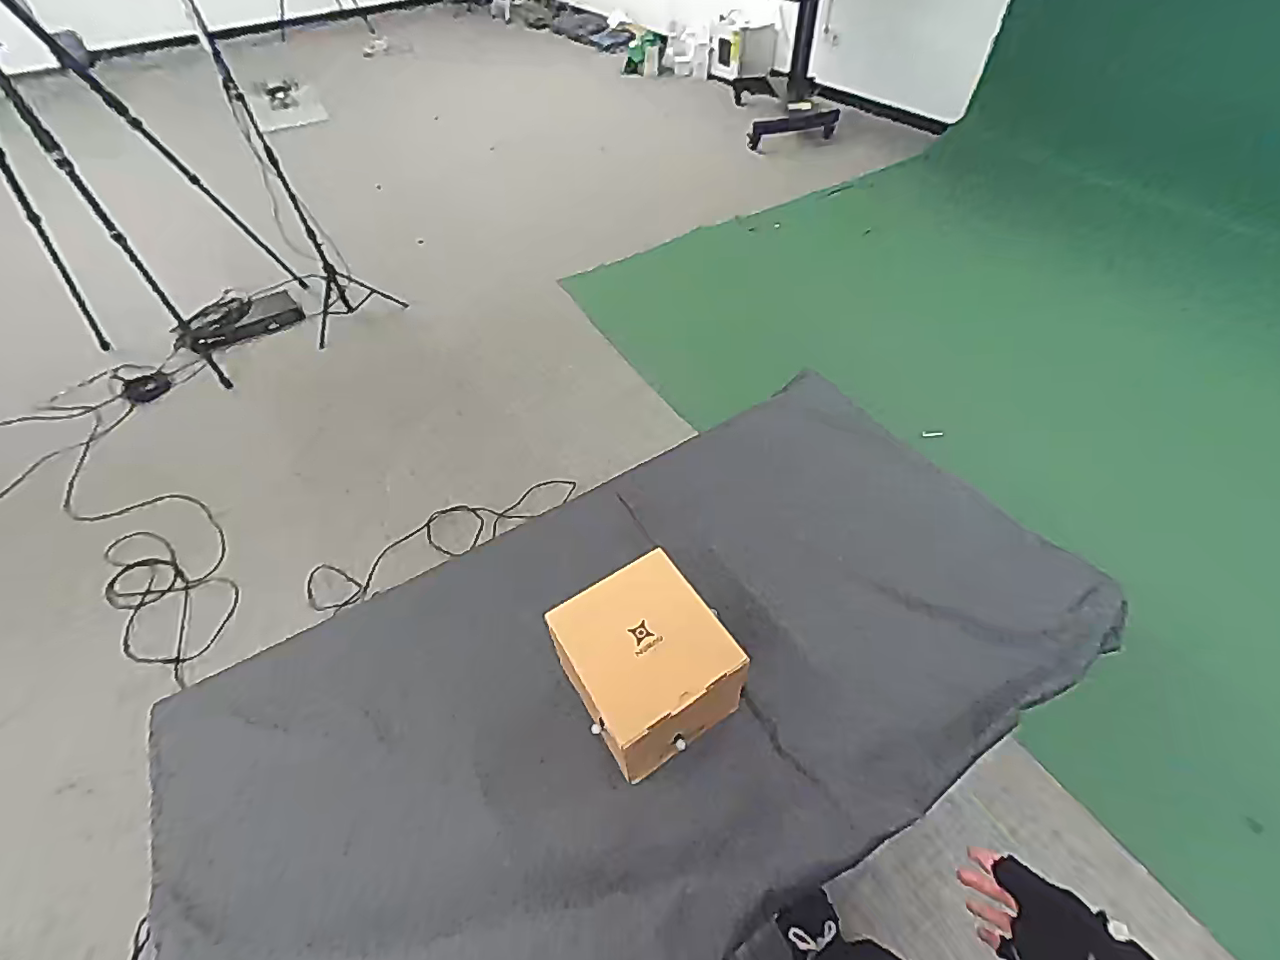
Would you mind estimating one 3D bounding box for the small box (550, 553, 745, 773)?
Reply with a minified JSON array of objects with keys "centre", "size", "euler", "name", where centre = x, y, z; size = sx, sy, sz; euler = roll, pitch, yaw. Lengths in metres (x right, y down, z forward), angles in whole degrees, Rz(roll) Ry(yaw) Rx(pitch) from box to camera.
[{"centre":[0.006,0.231,0.682],"size":[0.168,0.176,0.179],"euler":[-28,56,-19],"name":"small box"}]
